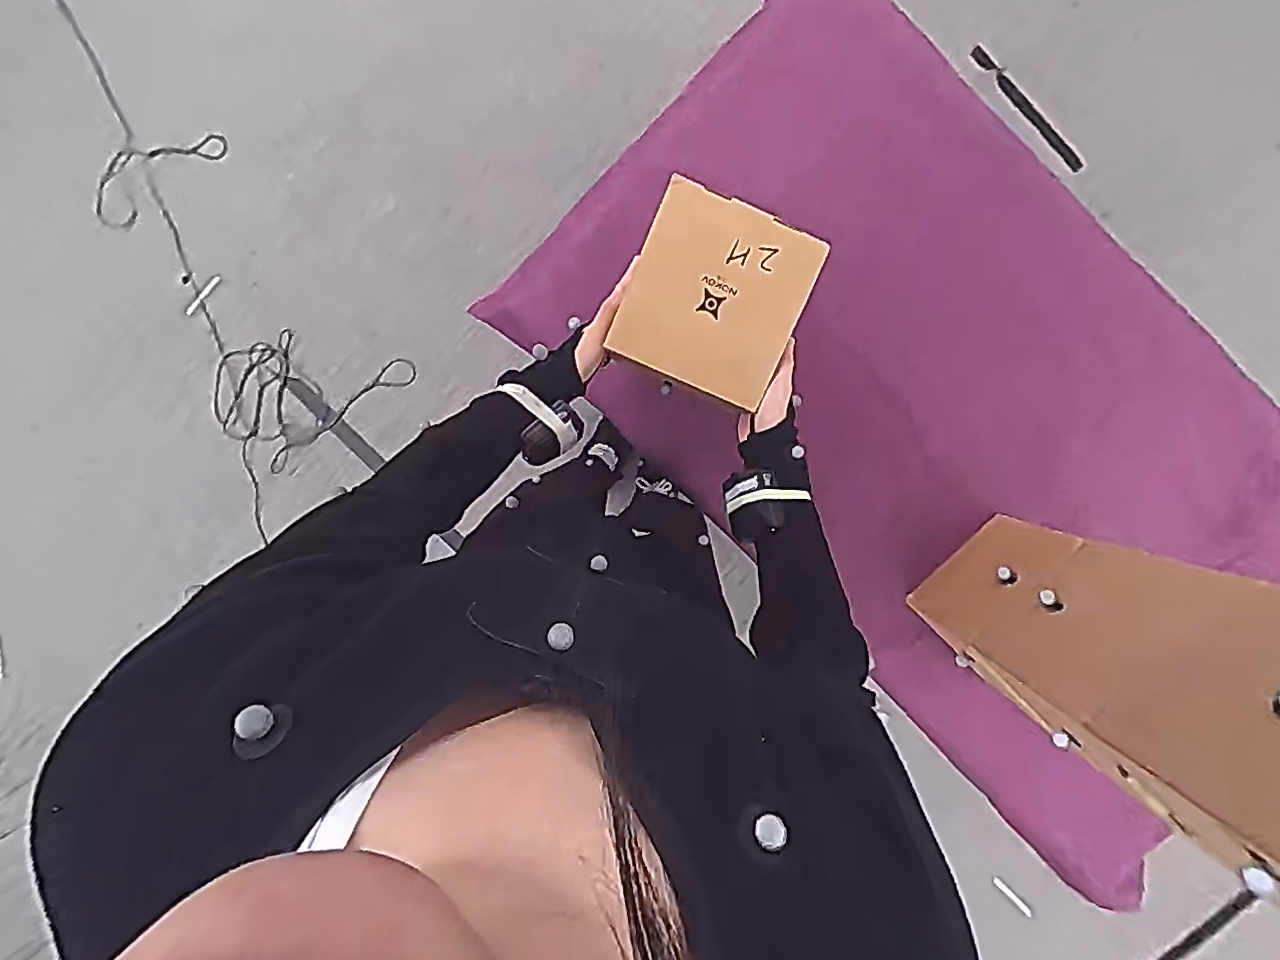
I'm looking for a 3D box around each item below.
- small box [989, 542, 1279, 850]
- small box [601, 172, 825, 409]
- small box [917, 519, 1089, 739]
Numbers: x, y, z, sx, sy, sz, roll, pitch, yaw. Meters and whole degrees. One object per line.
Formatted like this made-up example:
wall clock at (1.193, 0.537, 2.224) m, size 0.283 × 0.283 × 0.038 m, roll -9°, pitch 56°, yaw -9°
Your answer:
small box at (0.480, 0.186, 0.517) m, size 0.179 × 0.176 × 0.168 m, roll -44°, pitch 92°, yaw 6°
small box at (0.070, -0.189, 0.597) m, size 0.168 × 0.176 × 0.179 m, roll 23°, pitch 97°, yaw -3°
small box at (0.485, 0.172, 0.681) m, size 0.168 × 0.176 × 0.179 m, roll 45°, pitch 96°, yaw -2°
